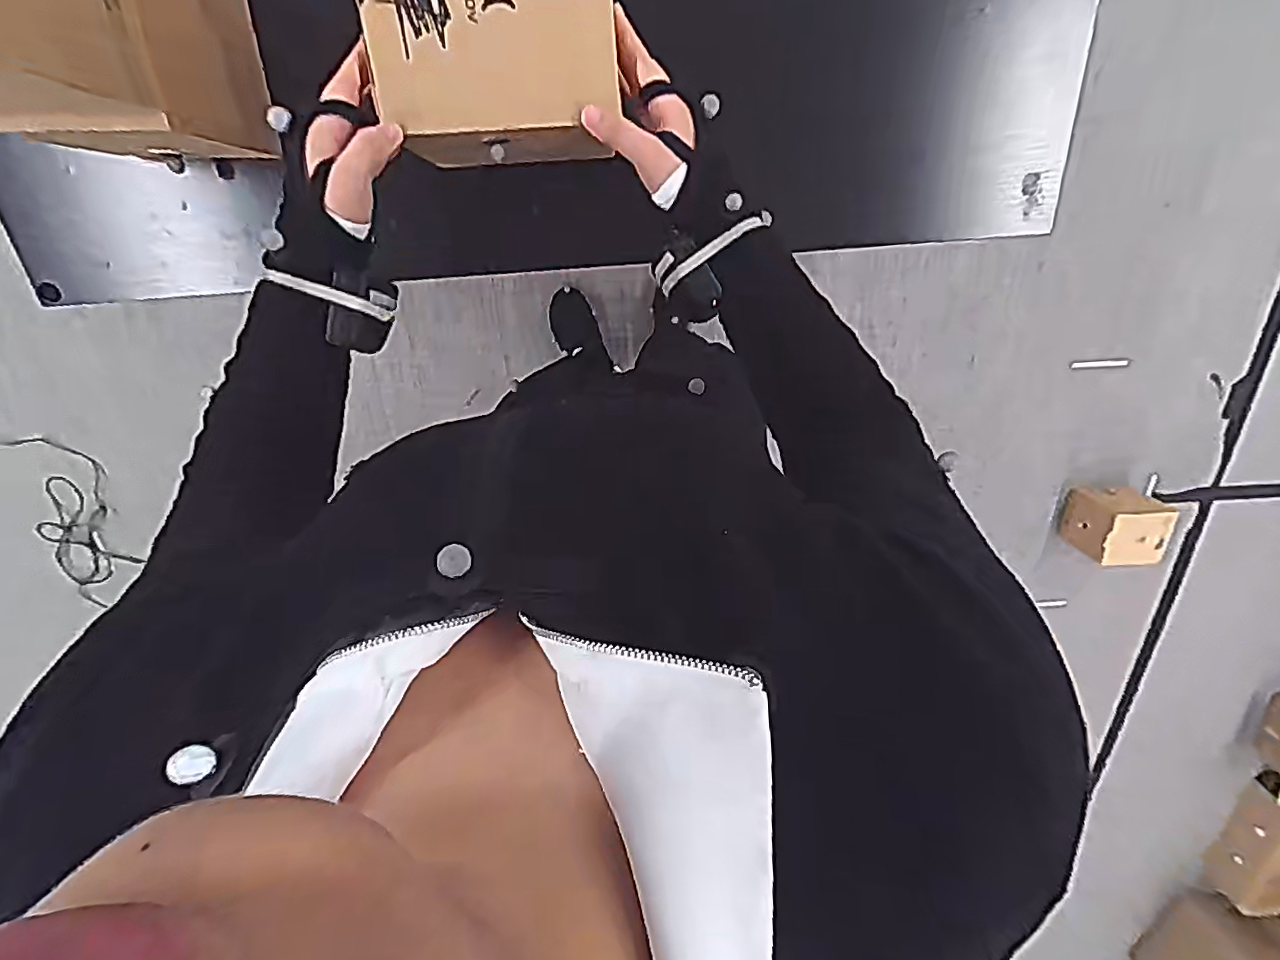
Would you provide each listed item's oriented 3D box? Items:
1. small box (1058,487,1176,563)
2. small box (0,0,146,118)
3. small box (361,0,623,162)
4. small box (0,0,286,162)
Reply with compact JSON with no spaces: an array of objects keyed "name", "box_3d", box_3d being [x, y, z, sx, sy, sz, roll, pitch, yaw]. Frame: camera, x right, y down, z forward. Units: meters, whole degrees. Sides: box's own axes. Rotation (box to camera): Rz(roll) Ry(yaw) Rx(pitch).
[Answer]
[{"name":"small box","box_3d":[1.379,0.127,1.580,0.179,0.176,0.168,-2,114,0]},{"name":"small box","box_3d":[-0.462,-0.336,0.329,0.179,0.176,0.168,-1,113,-1]},{"name":"small box","box_3d":[-0.108,-0.365,0.437,0.179,0.176,0.168,-5,114,-3]},{"name":"small box","box_3d":[-0.462,-0.396,0.483,0.168,0.176,0.179,-1,115,-1]}]
